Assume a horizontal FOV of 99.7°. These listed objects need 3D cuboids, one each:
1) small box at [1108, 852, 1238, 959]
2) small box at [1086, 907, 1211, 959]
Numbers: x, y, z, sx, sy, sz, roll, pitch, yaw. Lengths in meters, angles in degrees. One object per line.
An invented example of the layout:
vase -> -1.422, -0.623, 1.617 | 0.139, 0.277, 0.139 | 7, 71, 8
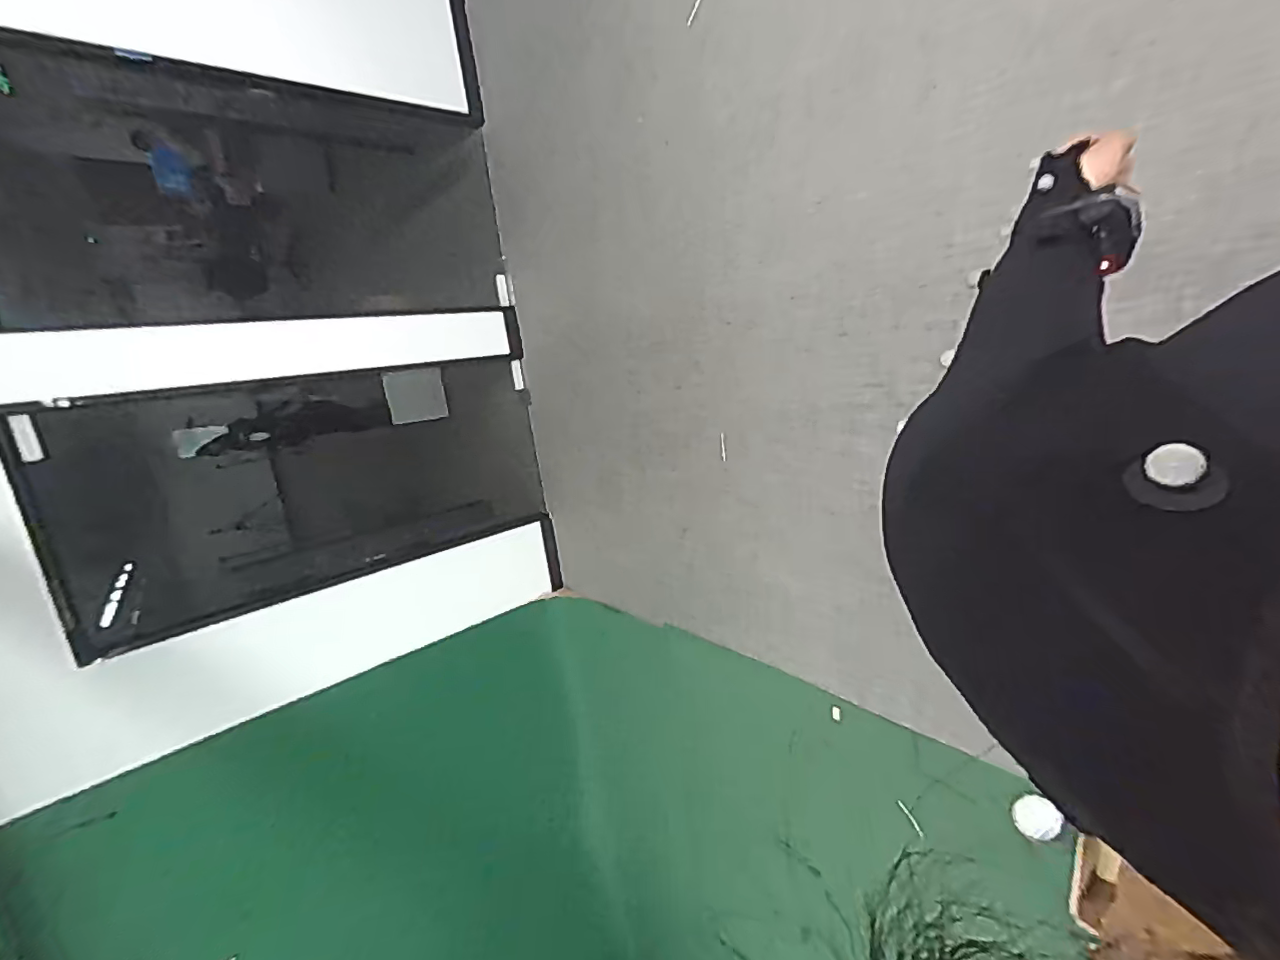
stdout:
small box -> 1.015, 0.882, 1.041 | 0.168, 0.176, 0.179 | 12, 109, 48
small box -> 0.889, 0.915, 0.939 | 0.168, 0.176, 0.179 | 9, 109, 49
